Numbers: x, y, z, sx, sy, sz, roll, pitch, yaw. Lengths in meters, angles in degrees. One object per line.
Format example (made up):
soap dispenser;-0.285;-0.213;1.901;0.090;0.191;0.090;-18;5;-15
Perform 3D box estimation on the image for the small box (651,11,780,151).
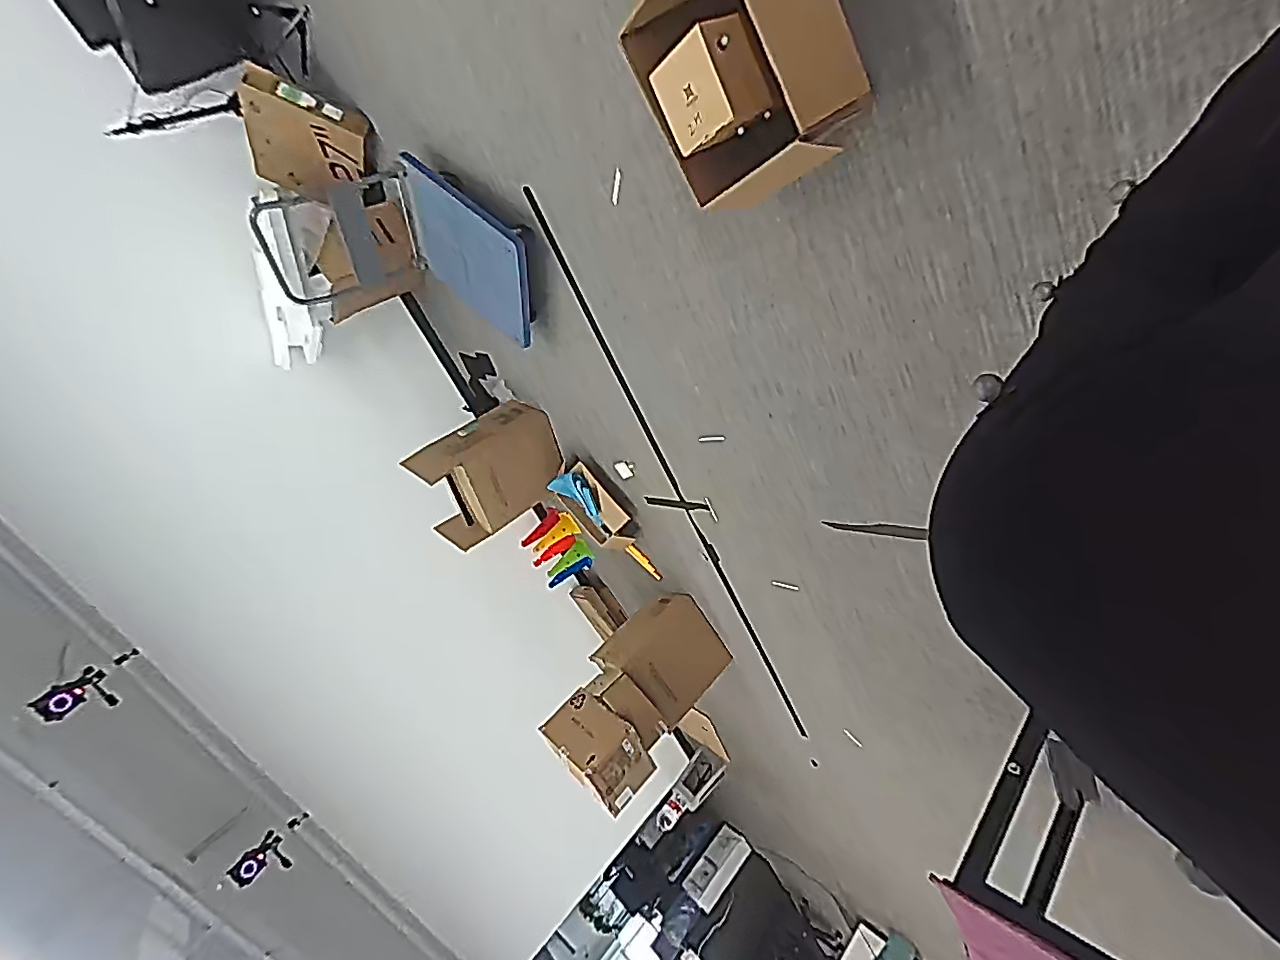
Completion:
small box;0.161;-0.845;1.145;0.168;0.176;0.179;1;126;57
